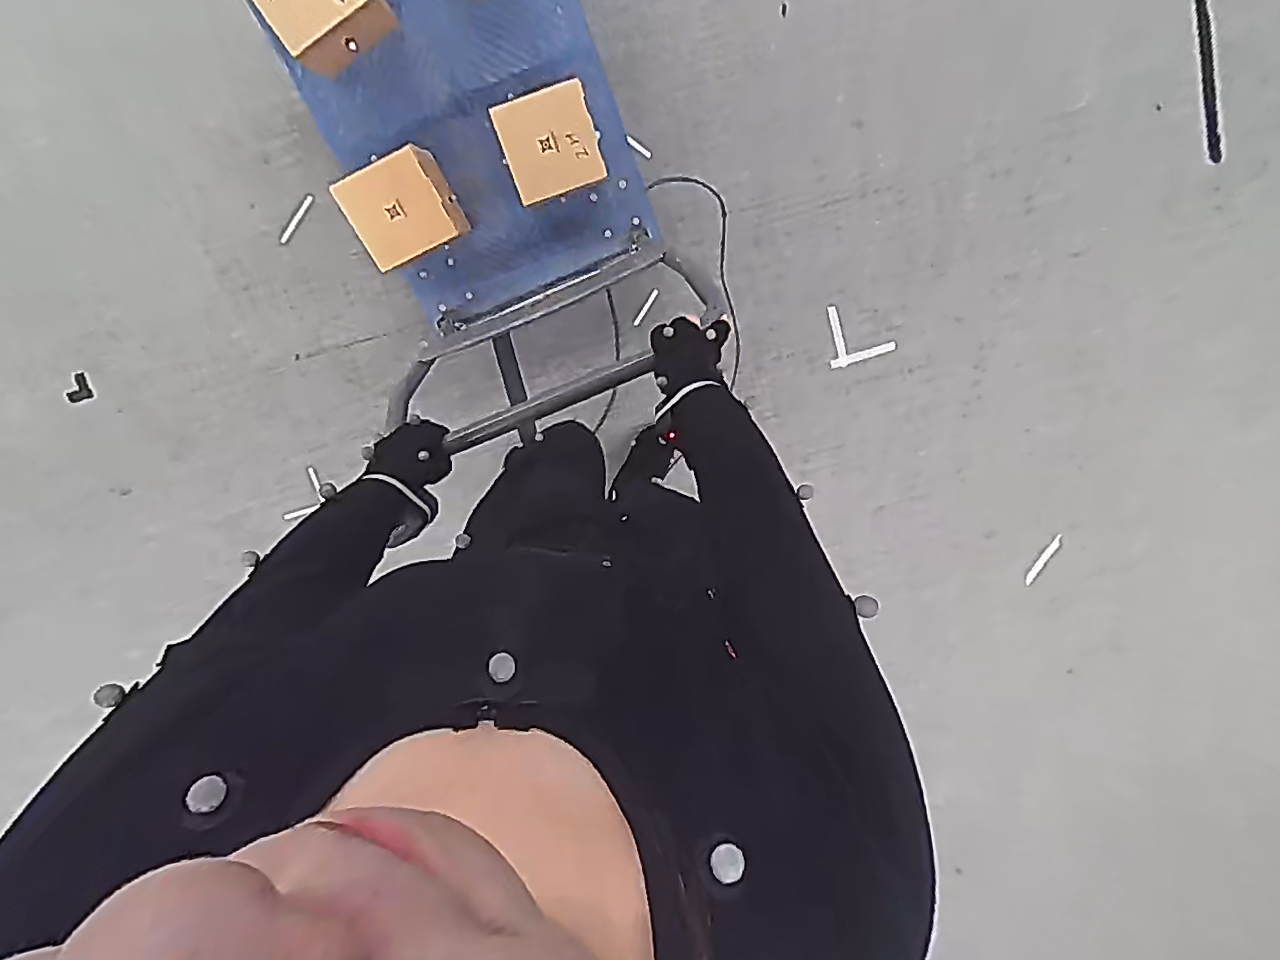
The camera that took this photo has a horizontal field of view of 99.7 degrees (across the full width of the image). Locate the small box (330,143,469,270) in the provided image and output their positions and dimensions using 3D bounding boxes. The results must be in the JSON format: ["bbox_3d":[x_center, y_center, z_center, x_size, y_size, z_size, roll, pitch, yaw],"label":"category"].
[{"bbox_3d":[-0.470,-0.542,1.089,0.179,0.176,0.168,-26,116,4],"label":"small box"}]

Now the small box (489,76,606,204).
[{"bbox_3d":[-0.175,-0.658,1.070,0.179,0.176,0.168,-18,117,2],"label":"small box"}]
